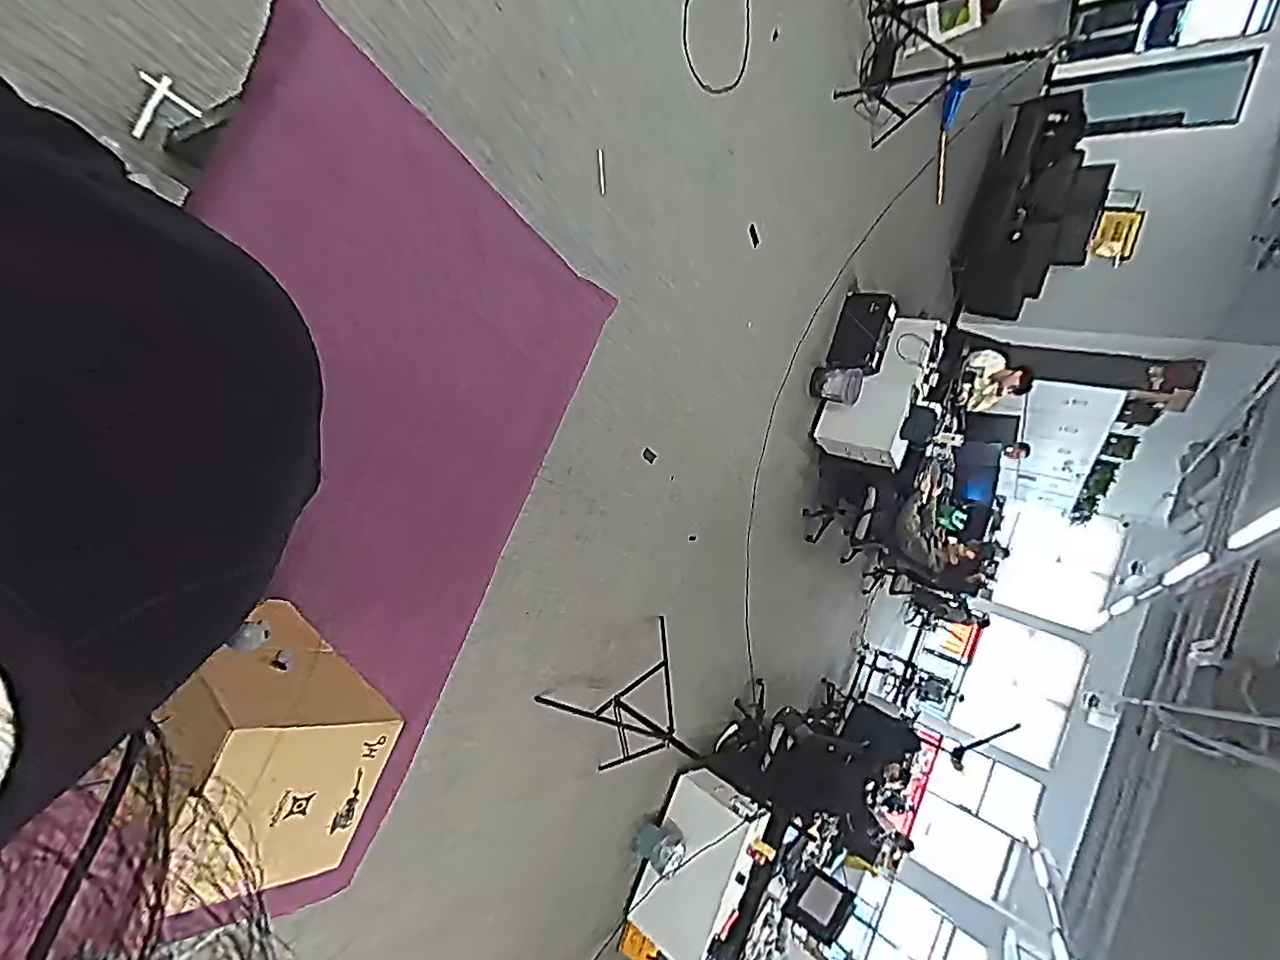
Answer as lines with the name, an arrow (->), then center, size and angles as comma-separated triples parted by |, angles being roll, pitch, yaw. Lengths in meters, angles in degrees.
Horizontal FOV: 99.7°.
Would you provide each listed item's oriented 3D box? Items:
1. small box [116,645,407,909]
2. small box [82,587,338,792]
small box -> -0.394, 0.287, 0.567 | 0.179, 0.176, 0.168 | 33, 78, -53
small box -> -0.523, 0.243, 0.660 | 0.179, 0.176, 0.168 | 32, 79, -54
